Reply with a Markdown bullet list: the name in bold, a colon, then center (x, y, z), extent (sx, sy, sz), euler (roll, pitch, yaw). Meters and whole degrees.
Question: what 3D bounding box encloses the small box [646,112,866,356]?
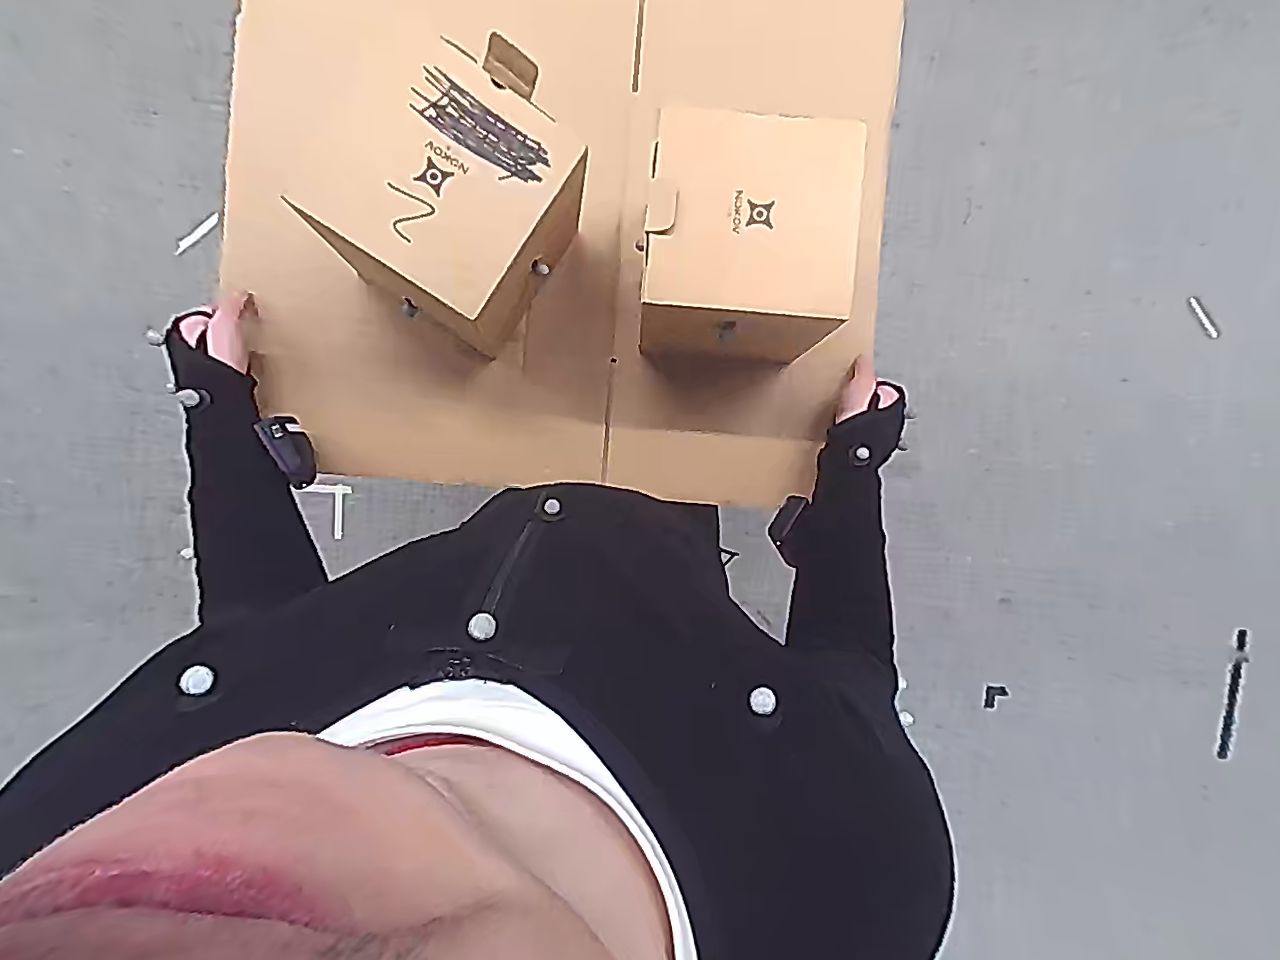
- **small box**: center (0.100, -0.226, 0.542), extent (0.179, 0.176, 0.168), euler (5, 90, 1)
